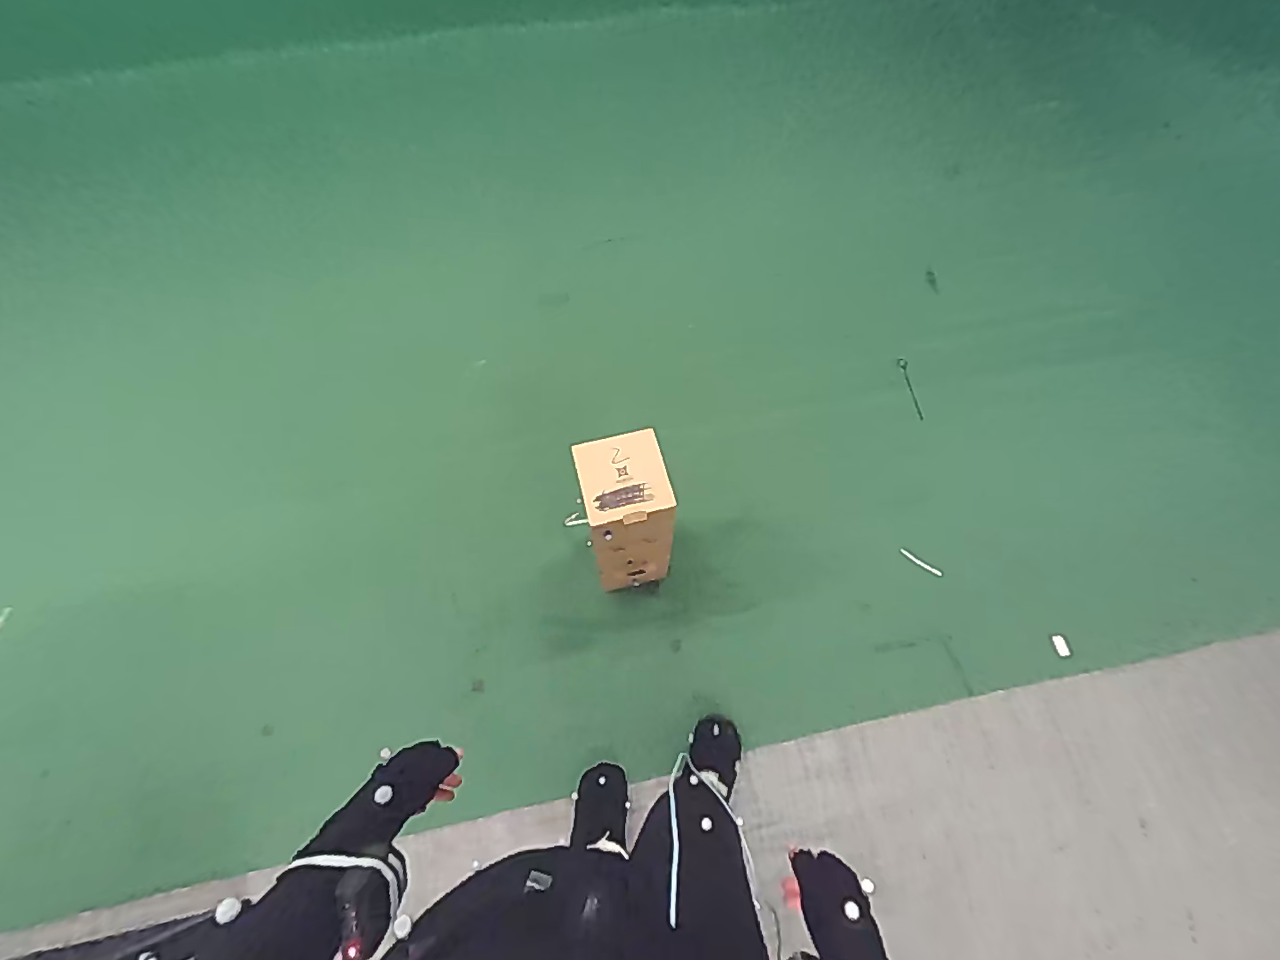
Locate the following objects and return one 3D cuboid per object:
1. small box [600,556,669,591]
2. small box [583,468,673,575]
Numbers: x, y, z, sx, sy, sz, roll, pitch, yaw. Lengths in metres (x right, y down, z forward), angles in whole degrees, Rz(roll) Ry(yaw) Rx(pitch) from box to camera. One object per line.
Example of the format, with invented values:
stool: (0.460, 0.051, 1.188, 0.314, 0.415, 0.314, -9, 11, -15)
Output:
small box: (-0.028, 0.168, 1.390, 0.168, 0.176, 0.179, -12, 66, -5)
small box: (-0.030, 0.099, 1.243, 0.168, 0.176, 0.179, -13, 67, -7)
